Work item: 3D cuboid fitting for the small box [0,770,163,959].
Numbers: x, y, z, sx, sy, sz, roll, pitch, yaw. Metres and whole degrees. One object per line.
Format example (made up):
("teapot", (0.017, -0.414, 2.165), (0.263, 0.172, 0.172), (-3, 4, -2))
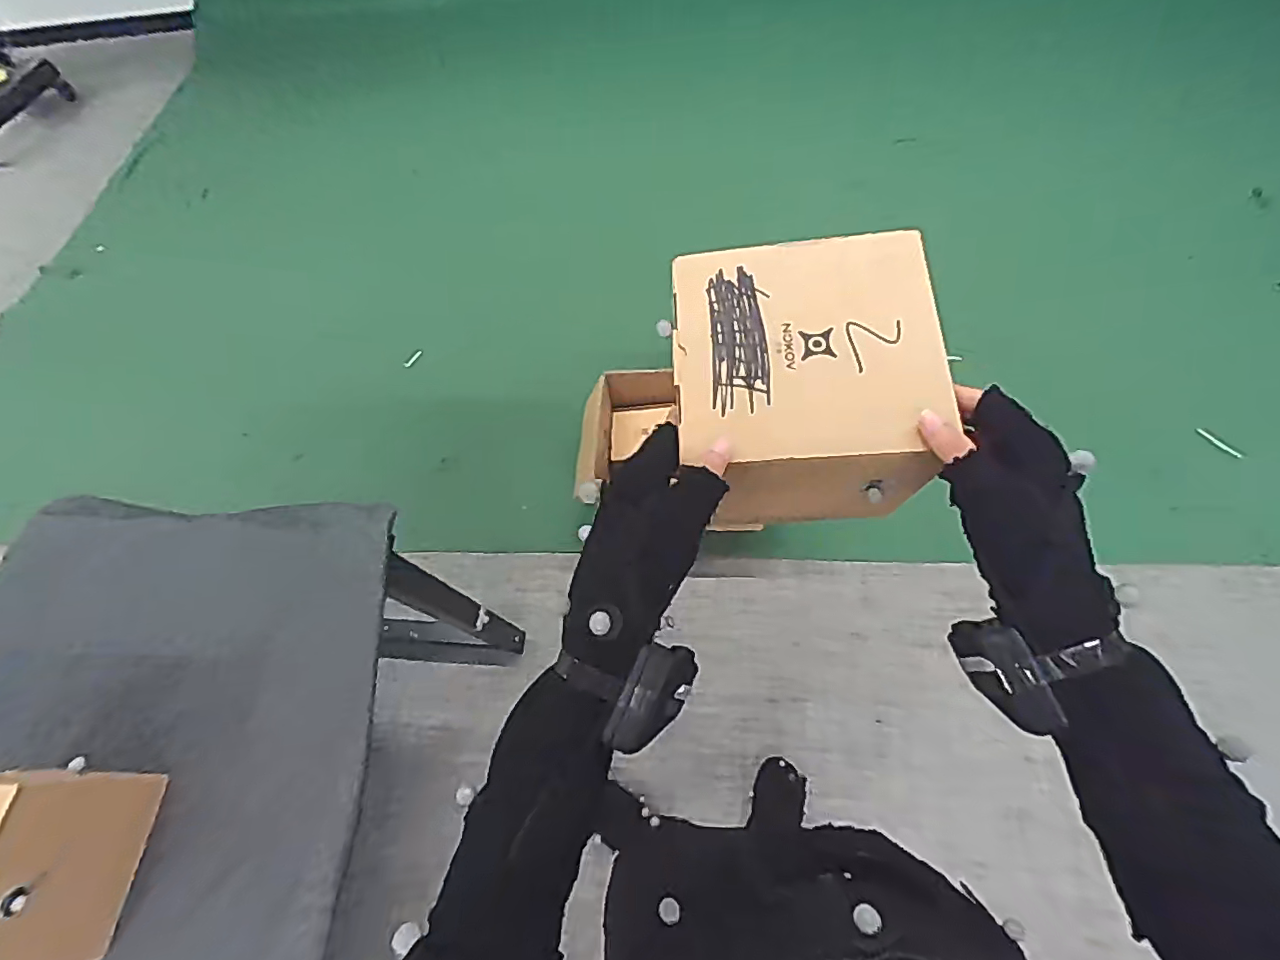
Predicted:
("small box", (-0.661, 0.407, 0.559), (0.168, 0.176, 0.179), (-1, 64, 6))
